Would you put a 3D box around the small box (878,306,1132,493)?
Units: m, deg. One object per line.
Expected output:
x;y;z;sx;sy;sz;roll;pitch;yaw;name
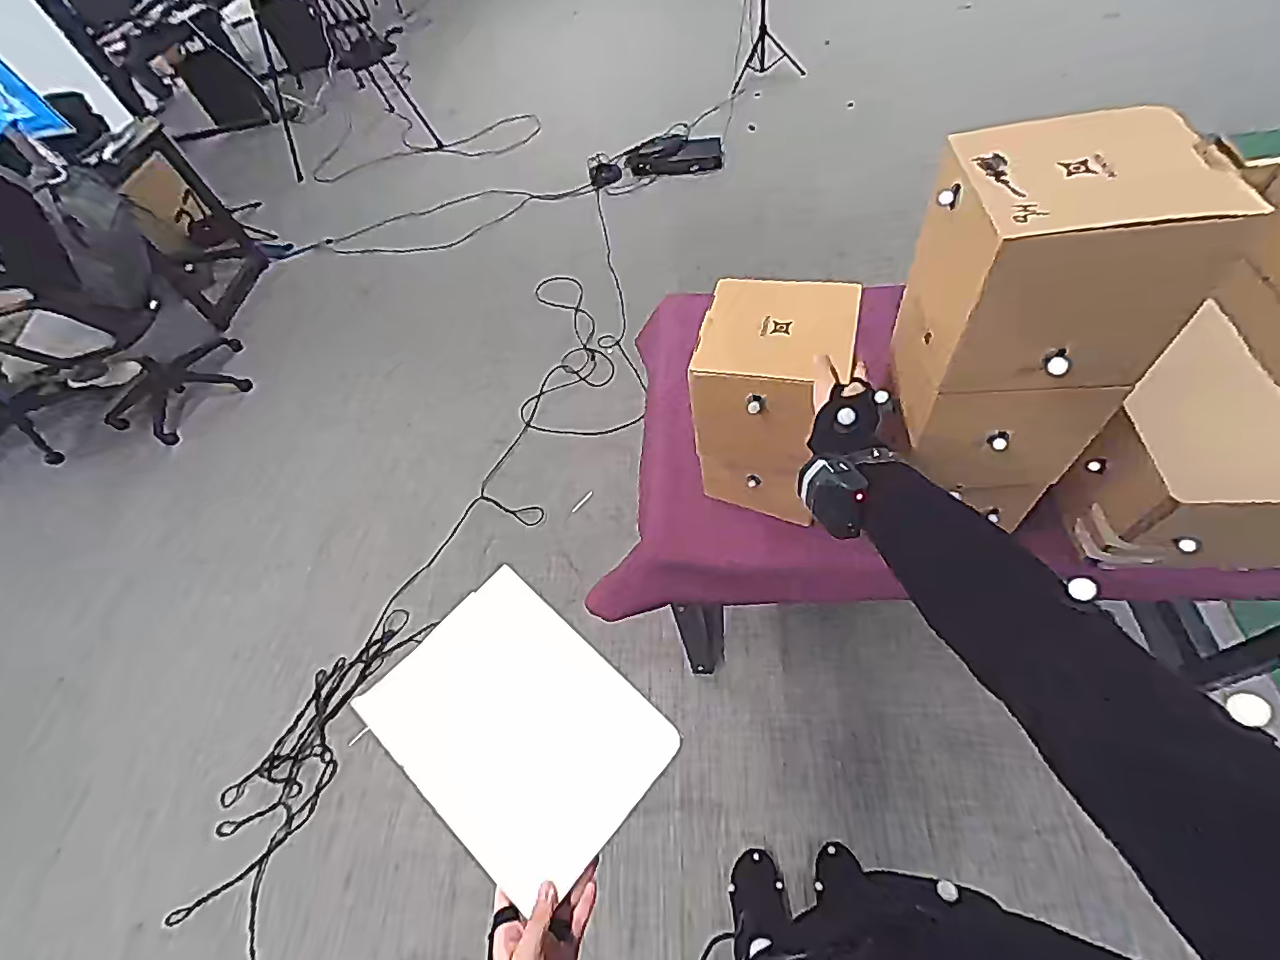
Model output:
0.395;-0.096;0.627;0.179;0.176;0.168;-2;54;11;small box

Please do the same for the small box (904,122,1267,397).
0.367;-0.192;0.496;0.179;0.176;0.168;-1;54;10;small box

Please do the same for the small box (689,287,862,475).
0.174;-0.123;0.695;0.179;0.176;0.168;9;58;18;small box
